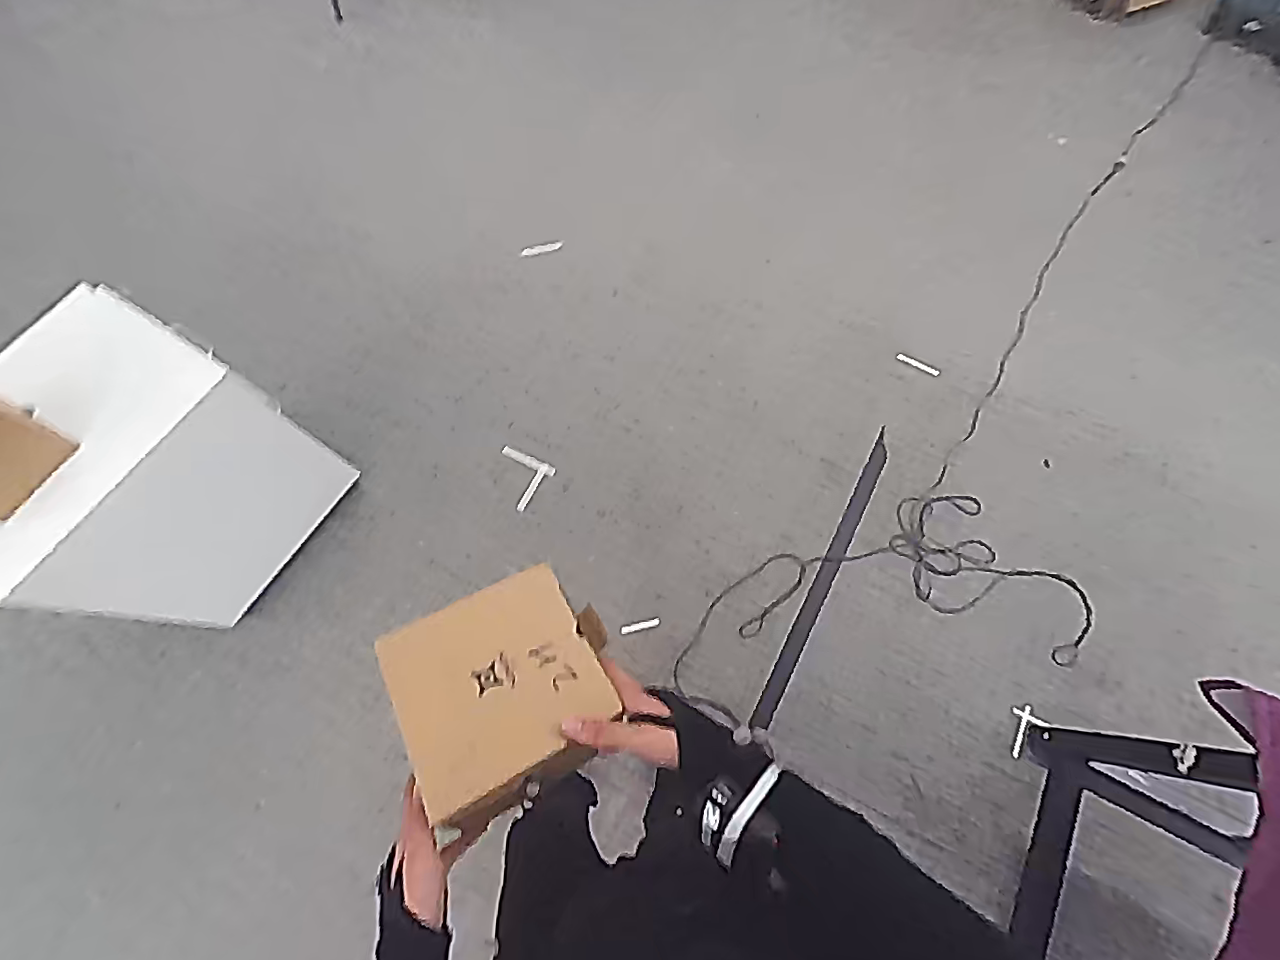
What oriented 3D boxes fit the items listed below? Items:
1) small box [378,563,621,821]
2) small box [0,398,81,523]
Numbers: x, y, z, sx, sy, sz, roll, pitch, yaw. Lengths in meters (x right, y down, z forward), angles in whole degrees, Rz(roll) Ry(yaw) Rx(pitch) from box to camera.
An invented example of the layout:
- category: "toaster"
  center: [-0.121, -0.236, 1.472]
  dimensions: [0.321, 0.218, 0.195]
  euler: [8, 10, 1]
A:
- category: "small box"
  center: [-0.133, 0.220, 0.552]
  dimensions: [0.179, 0.176, 0.168]
  euler: [-24, 61, -20]
- category: "small box"
  center: [-1.120, -0.051, 0.898]
  dimensions: [0.168, 0.176, 0.179]
  euler: [28, 72, 8]
